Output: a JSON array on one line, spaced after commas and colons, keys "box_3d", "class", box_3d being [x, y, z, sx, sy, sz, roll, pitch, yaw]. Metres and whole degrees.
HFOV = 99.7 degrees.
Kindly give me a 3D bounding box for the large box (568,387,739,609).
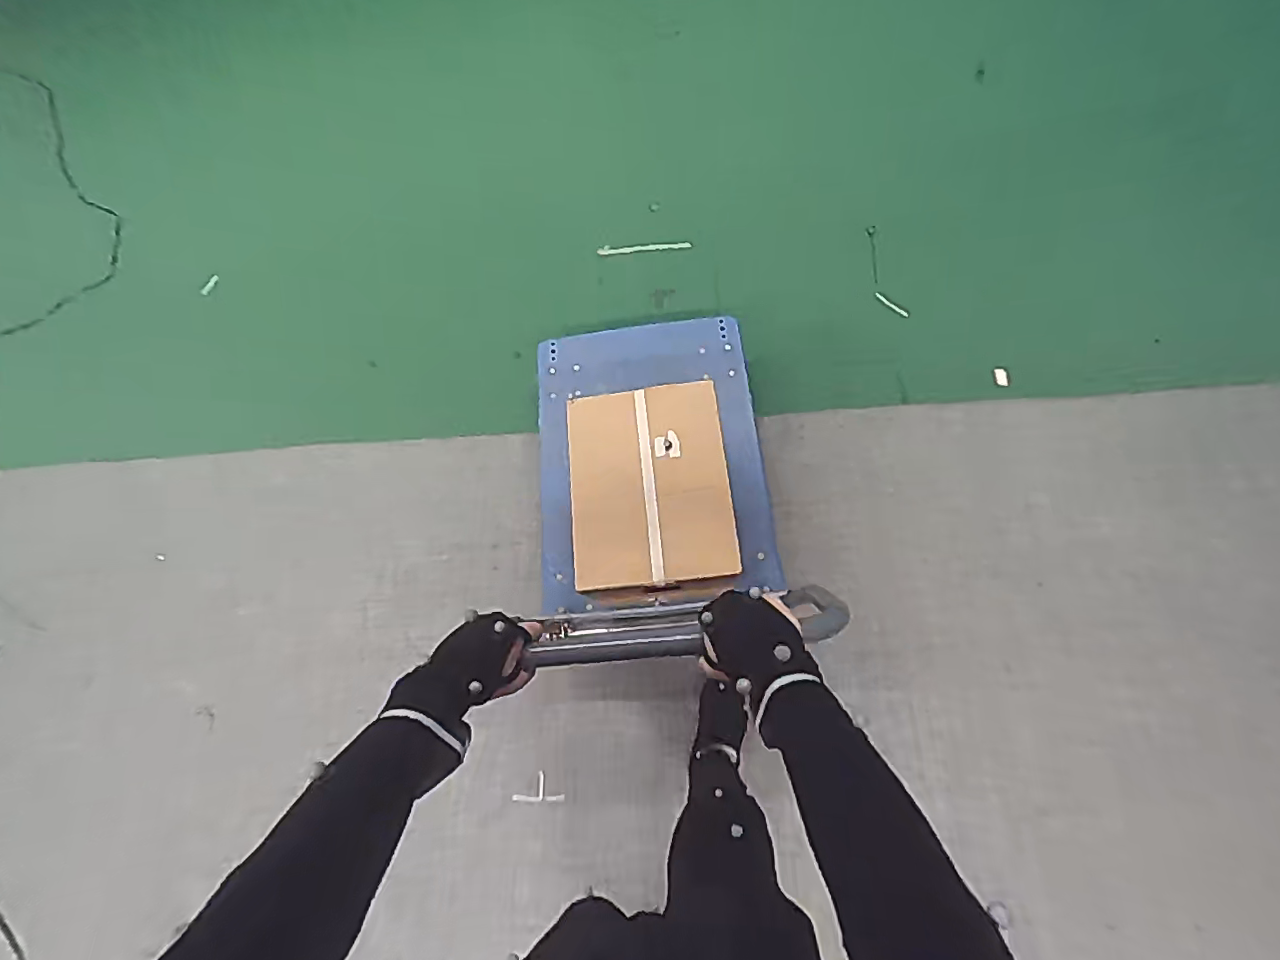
[{"box_3d": [0.032, 0.058, 1.221, 0.320, 0.320, 0.408, -7, 70, 4], "class": "large box"}]
